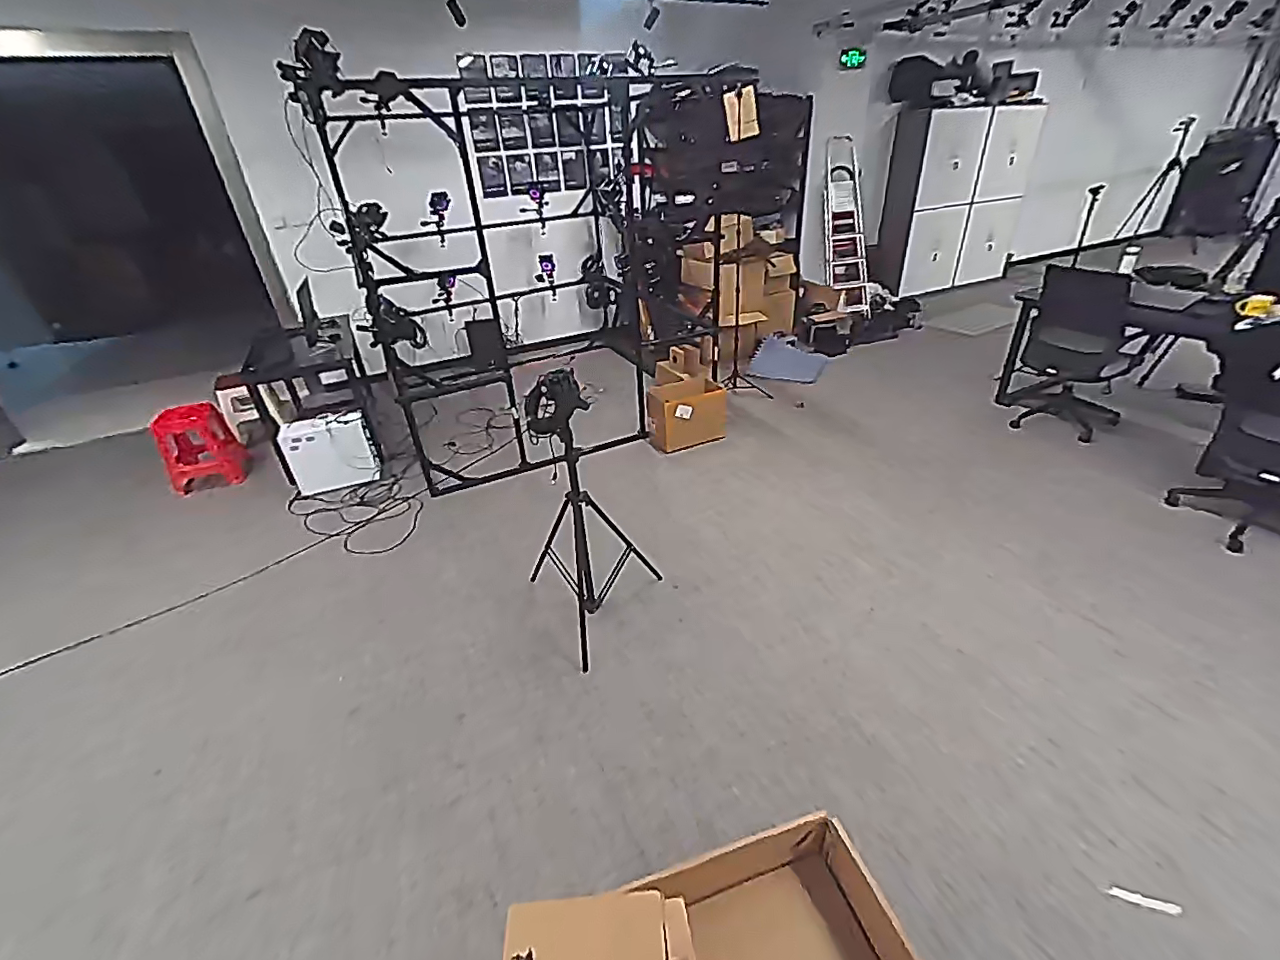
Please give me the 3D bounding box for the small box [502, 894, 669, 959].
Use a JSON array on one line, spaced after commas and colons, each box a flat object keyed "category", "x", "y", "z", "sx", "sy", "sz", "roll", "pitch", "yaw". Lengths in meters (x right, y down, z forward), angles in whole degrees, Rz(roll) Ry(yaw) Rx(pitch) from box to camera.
[{"category": "small box", "x": -0.059, "y": 0.581, "z": 0.588, "sx": 0.179, "sy": 0.176, "sz": 0.168, "roll": -1, "pitch": 34, "yaw": -4}]
